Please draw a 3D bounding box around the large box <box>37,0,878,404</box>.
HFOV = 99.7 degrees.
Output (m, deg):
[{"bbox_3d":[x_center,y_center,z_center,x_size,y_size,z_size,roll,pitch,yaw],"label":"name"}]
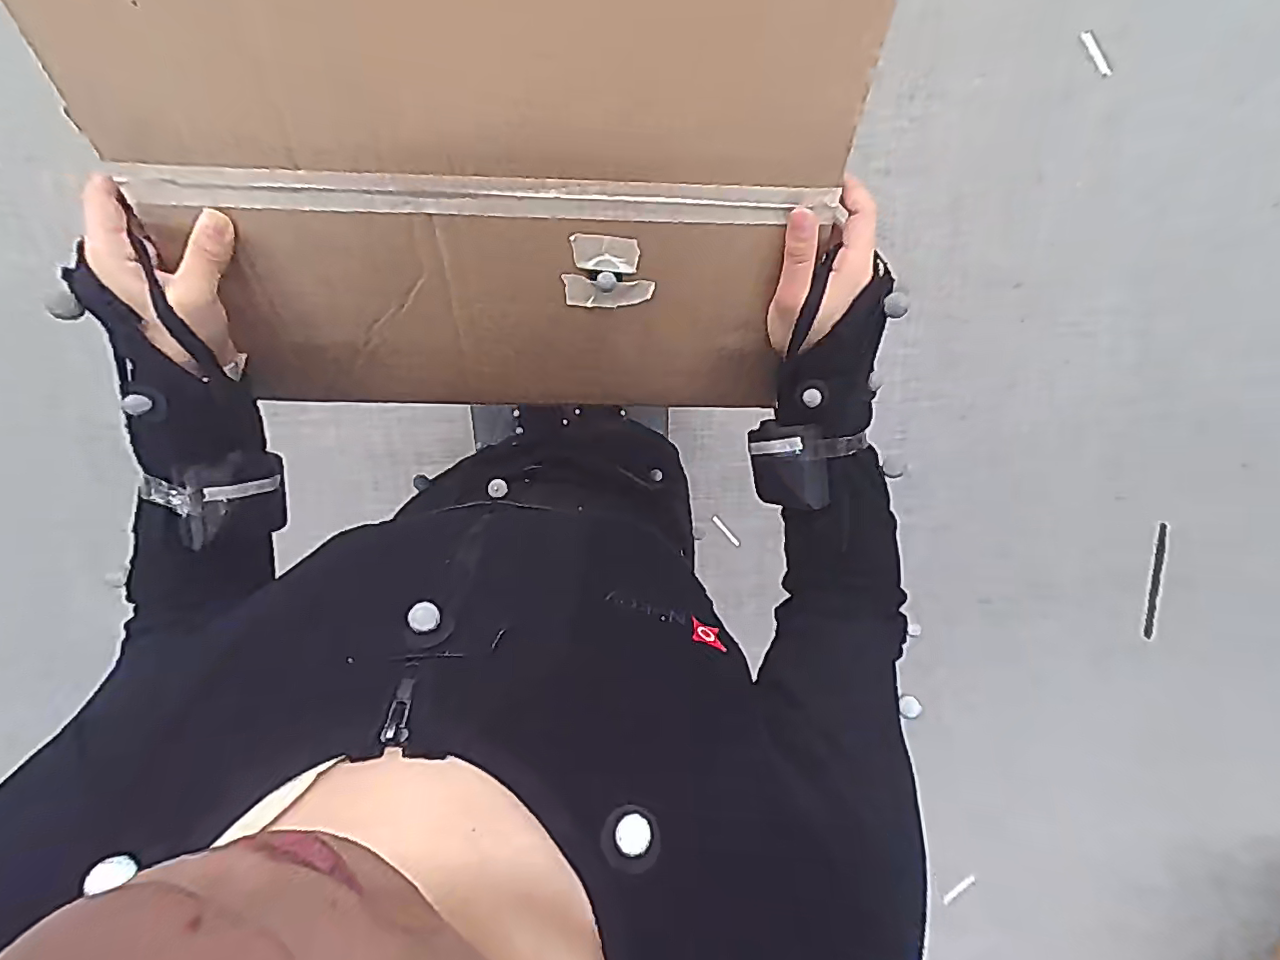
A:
[{"bbox_3d":[-0.094,-0.278,0.423,0.408,0.320,0.320,-1,139,-4],"label":"large box"}]
